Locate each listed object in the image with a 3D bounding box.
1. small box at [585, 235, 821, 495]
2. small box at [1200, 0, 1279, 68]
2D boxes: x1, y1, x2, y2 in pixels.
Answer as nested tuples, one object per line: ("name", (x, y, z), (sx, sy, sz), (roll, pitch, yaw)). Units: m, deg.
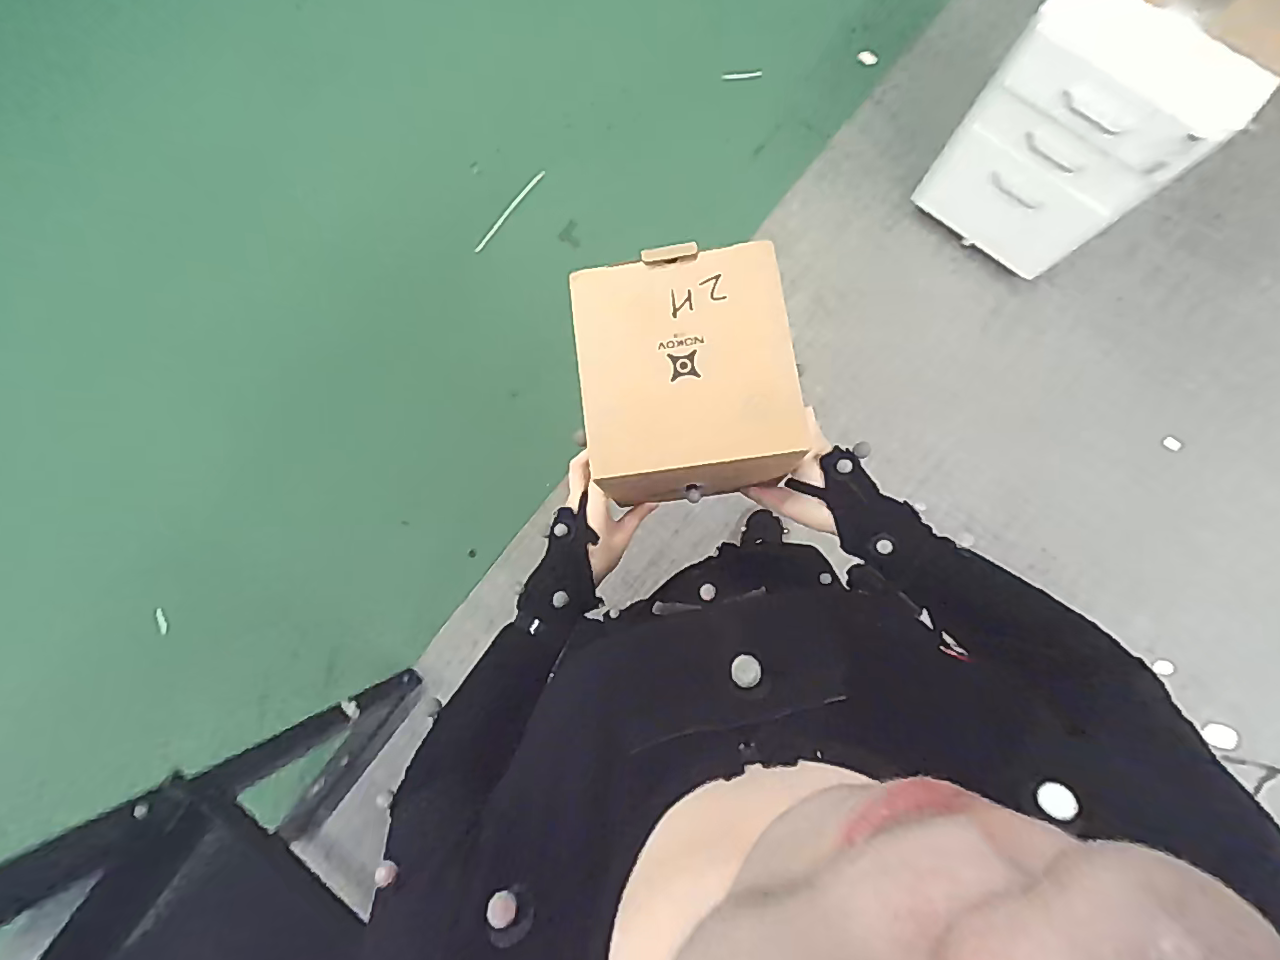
("small box", (0.052, -0.085, 0.491), (0.168, 0.176, 0.179), (-7, 79, 4))
("small box", (1.083, -0.810, 0.857), (0.179, 0.176, 0.168), (39, 87, 9))
